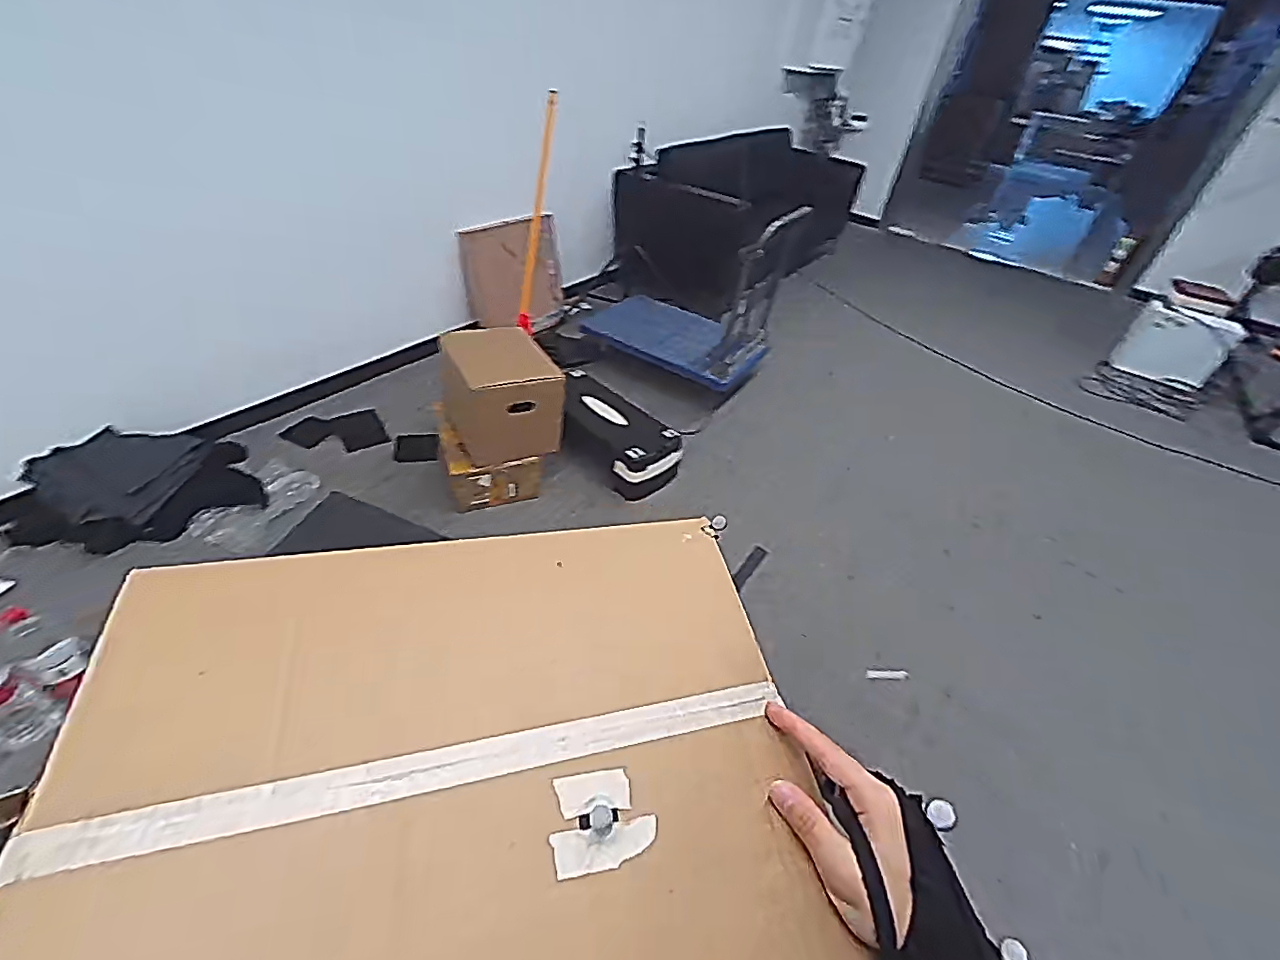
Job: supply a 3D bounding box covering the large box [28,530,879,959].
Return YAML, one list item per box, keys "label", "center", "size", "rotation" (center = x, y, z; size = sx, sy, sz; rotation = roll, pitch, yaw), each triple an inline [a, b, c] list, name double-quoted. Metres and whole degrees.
- label: "large box"
  center: [-0.120, 0.268, 0.431]
  size: [0.408, 0.320, 0.320]
  rotation: [-3, 51, -17]
